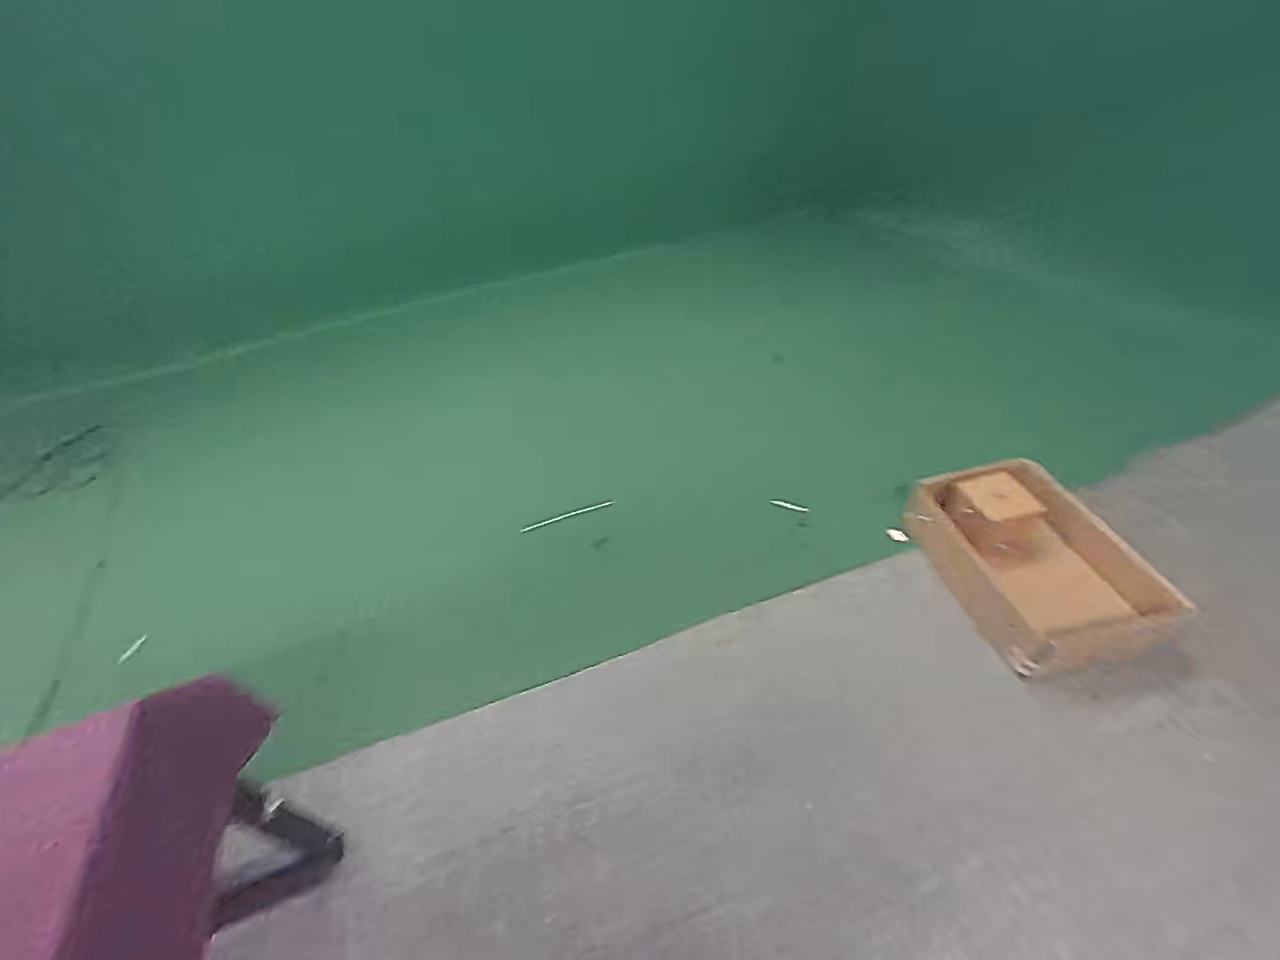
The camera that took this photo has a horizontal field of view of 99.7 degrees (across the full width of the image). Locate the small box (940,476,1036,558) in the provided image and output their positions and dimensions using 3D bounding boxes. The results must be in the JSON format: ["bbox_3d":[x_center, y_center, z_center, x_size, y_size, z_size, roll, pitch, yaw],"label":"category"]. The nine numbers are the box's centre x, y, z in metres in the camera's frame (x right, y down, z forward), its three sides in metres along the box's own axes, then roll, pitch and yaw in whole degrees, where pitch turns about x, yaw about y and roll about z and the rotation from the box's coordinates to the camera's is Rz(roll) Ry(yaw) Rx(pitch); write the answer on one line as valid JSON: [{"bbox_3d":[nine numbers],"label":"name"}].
[{"bbox_3d":[1.090,0.119,1.714,0.168,0.176,0.179,-13,44,-3],"label":"small box"}]
